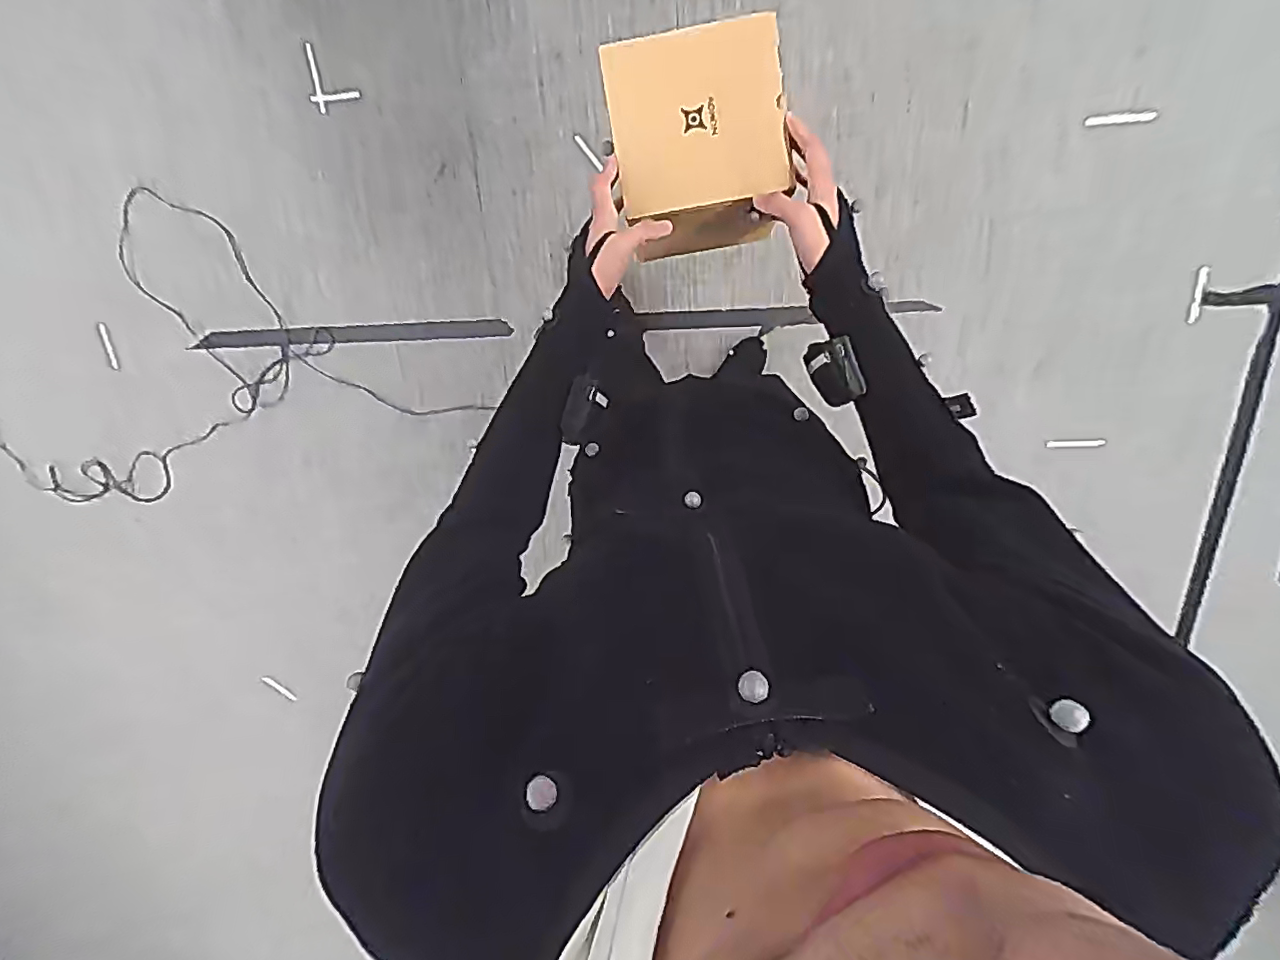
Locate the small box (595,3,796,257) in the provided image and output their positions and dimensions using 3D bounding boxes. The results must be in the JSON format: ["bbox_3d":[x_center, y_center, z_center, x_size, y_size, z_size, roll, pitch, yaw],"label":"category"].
[{"bbox_3d":[0.058,-0.363,0.598,0.179,0.176,0.168,-9,97,3],"label":"small box"}]

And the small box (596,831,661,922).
[{"bbox_3d":[-0.030,1.216,1.665,0.179,0.176,0.168,-5,109,6],"label":"small box"}]
